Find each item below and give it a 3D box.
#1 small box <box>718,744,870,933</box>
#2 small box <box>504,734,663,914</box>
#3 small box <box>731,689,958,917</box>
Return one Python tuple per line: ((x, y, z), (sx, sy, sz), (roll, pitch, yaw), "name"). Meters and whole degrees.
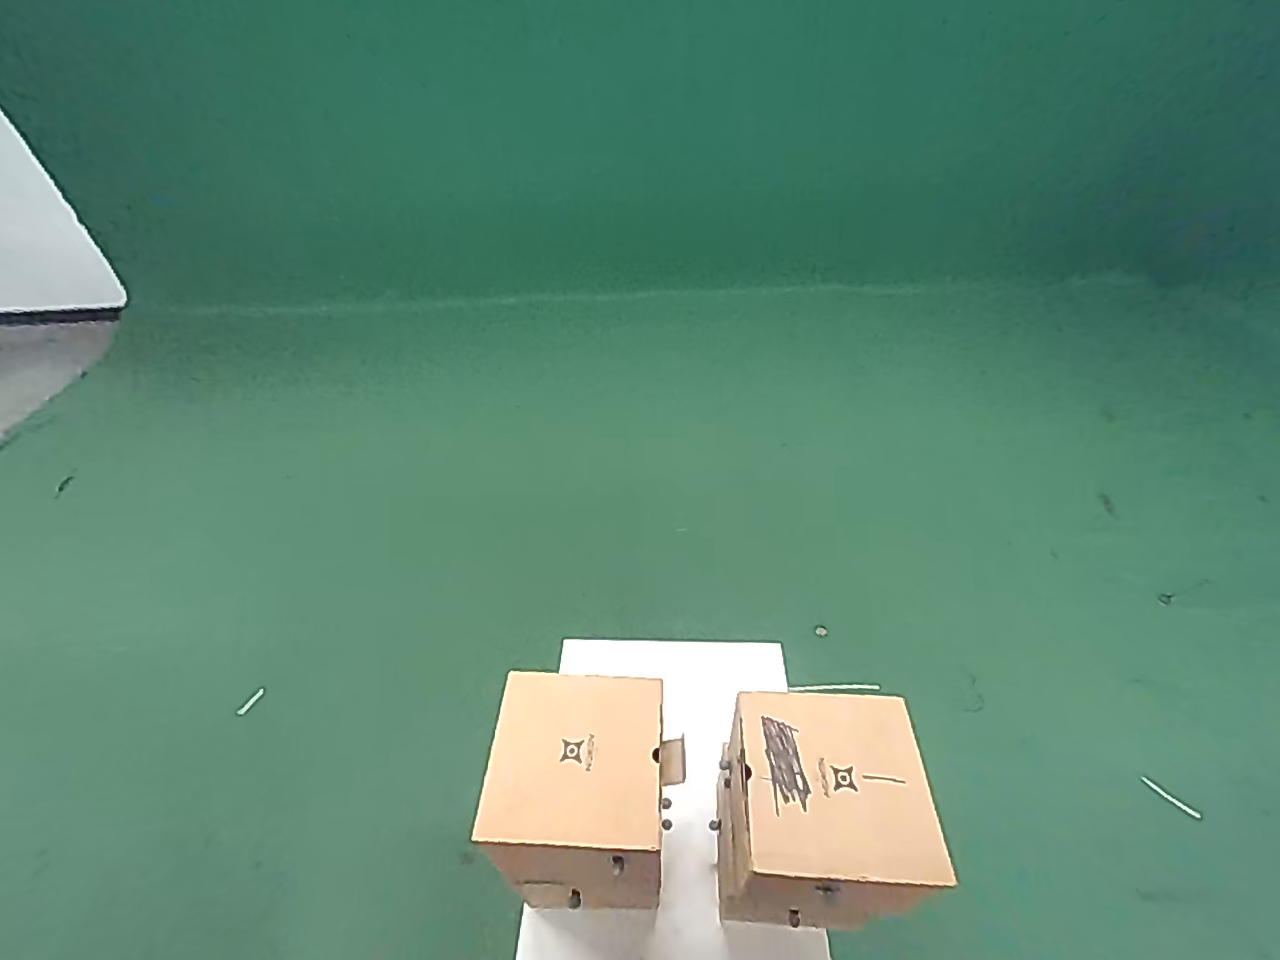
((0.189, 0.454, 0.684), (0.179, 0.176, 0.168), (1, 45, 4), "small box")
((-0.060, 0.448, 0.704), (0.179, 0.176, 0.168), (-1, 44, 1), "small box")
((0.189, 0.339, 0.566), (0.179, 0.176, 0.168), (2, 45, 4), "small box")
